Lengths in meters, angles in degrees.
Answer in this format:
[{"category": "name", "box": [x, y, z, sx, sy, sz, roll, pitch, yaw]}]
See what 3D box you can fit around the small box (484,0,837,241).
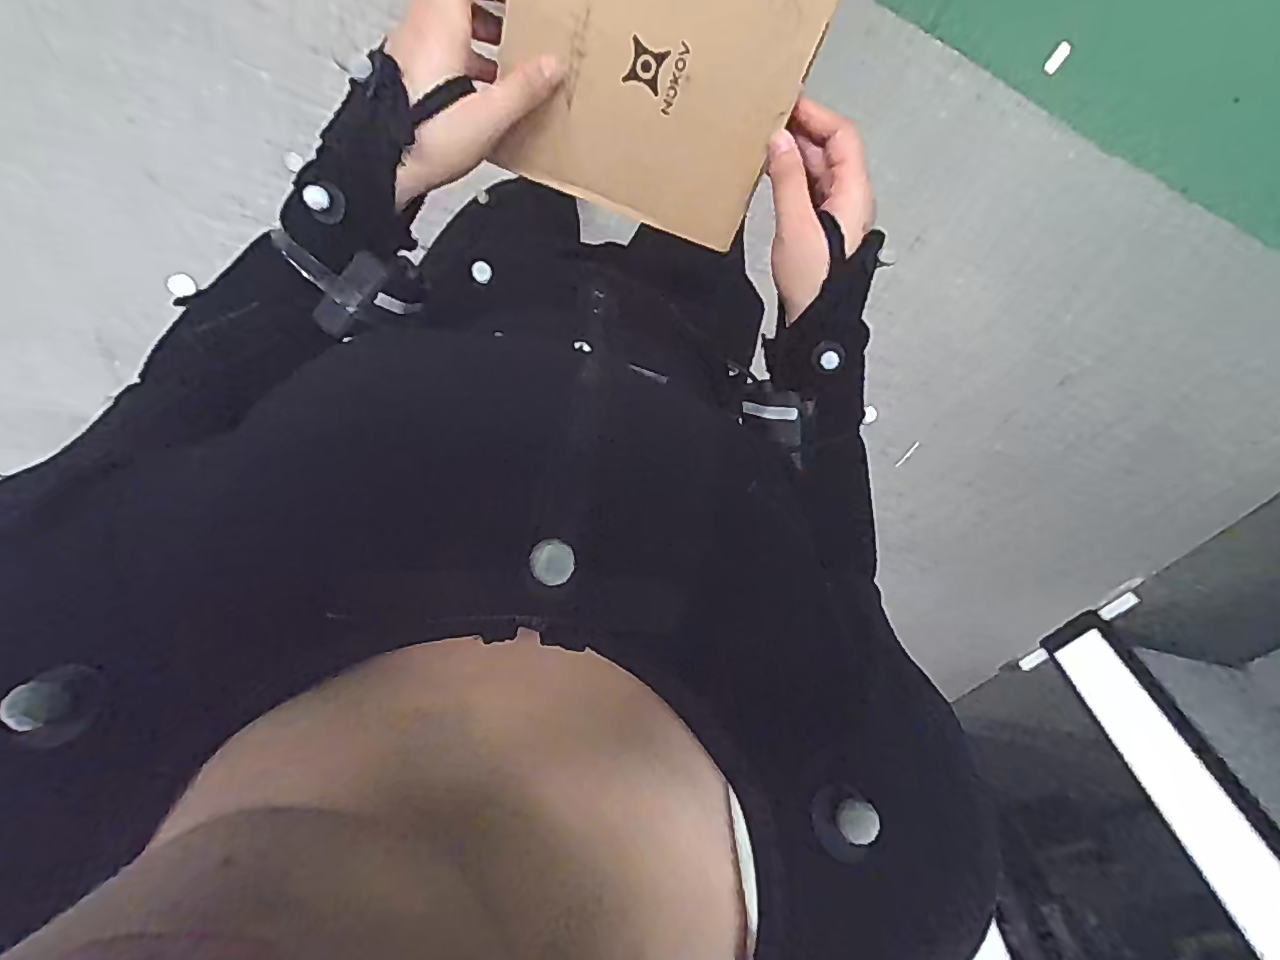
[{"category": "small box", "box": [0.010, -0.297, 0.367, 0.179, 0.176, 0.168, 15, 131, -9]}]
